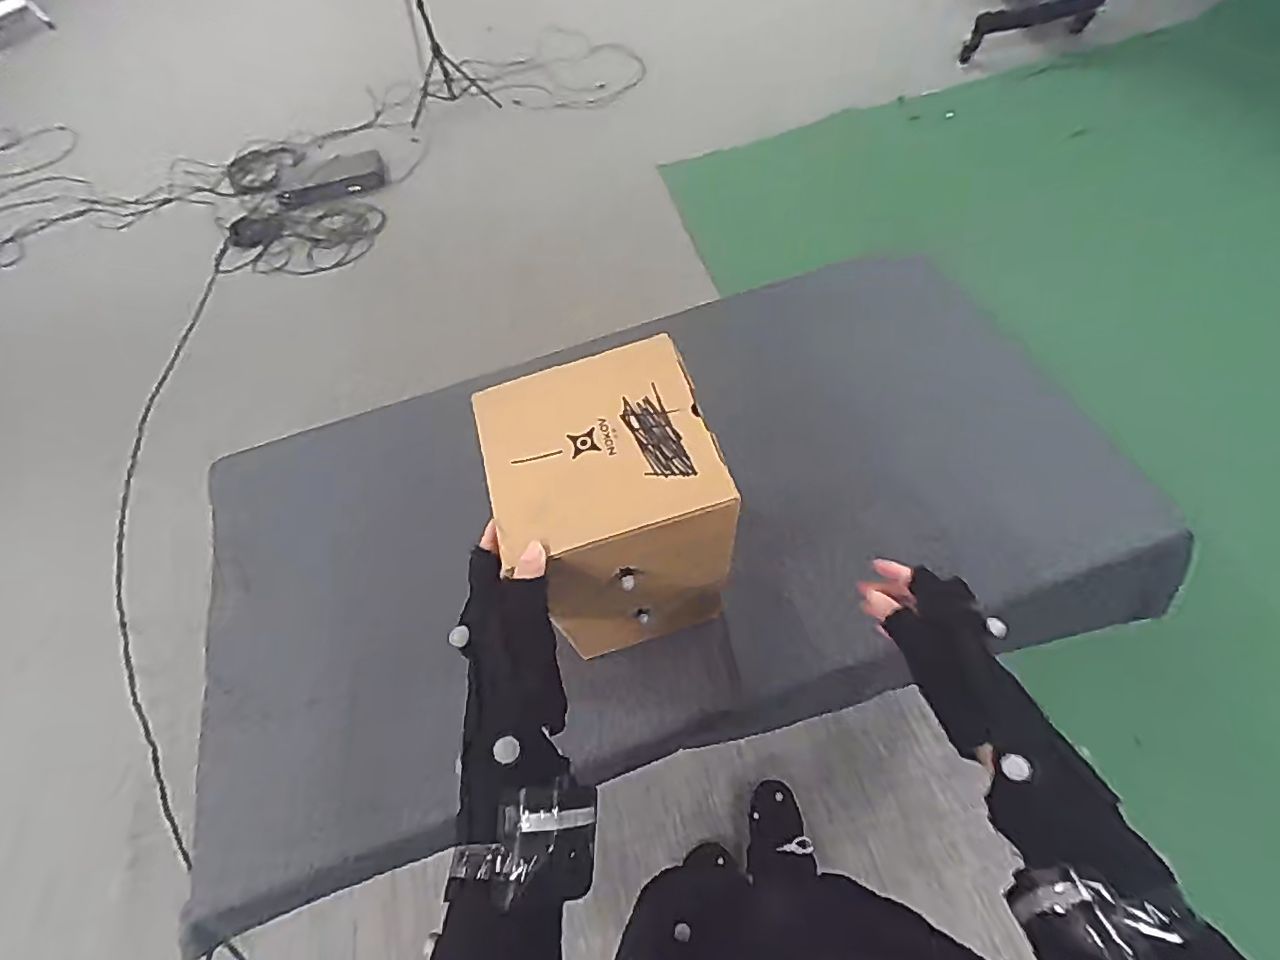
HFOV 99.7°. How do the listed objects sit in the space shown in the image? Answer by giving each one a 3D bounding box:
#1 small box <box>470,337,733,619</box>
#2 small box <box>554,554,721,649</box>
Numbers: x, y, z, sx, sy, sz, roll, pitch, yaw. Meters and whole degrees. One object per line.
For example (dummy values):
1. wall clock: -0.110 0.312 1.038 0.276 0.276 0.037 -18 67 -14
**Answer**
1. small box: -0.029 0.008 0.489 0.179 0.176 0.168 -18 62 -2
2. small box: -0.015 0.083 0.634 0.179 0.176 0.168 -18 62 -4
